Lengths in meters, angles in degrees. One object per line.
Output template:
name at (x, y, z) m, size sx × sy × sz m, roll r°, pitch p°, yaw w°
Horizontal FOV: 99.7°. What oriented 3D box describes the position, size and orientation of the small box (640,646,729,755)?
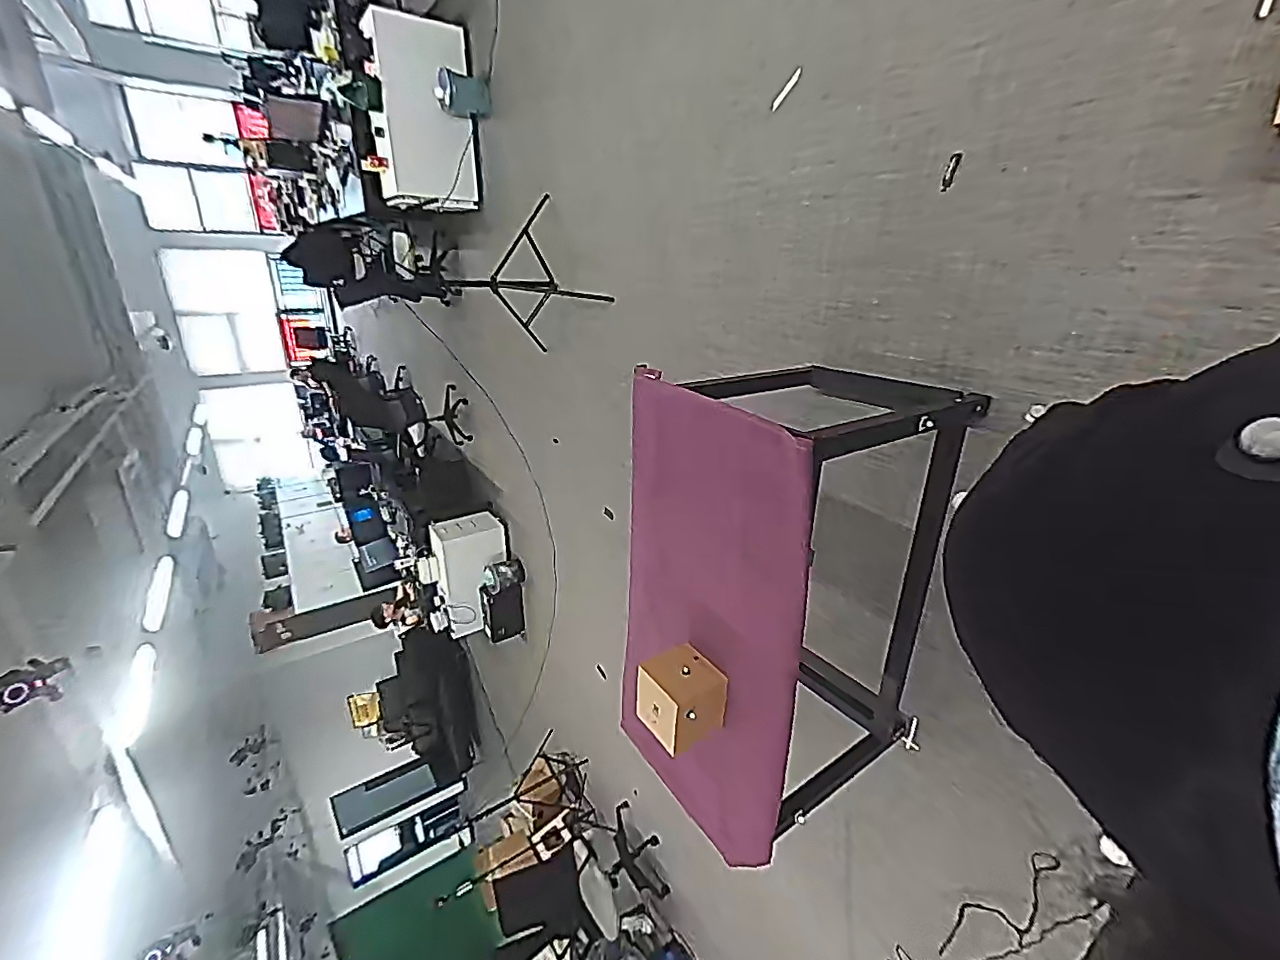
small box at (0.116, 0.567, 1.416) m, size 0.168 × 0.176 × 0.179 m, roll 32°, pitch 127°, yaw 50°
